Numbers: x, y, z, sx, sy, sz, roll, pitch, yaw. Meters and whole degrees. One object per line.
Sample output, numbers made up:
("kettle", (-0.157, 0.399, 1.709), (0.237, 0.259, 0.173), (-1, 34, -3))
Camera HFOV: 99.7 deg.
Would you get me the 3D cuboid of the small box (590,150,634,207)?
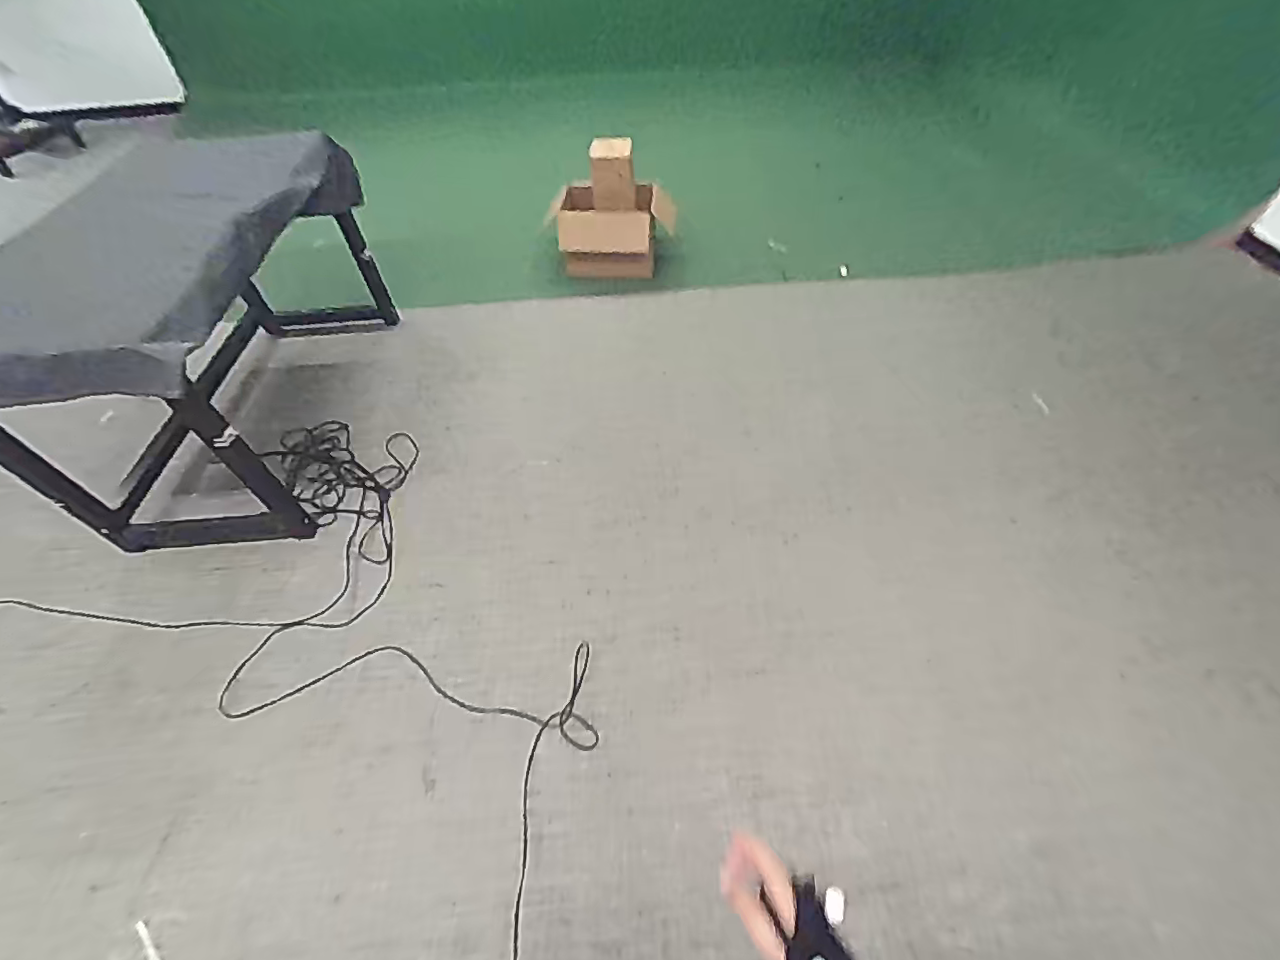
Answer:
("small box", (-0.113, -1.290, 2.316), (0.168, 0.176, 0.179), (1, 50, 3))
